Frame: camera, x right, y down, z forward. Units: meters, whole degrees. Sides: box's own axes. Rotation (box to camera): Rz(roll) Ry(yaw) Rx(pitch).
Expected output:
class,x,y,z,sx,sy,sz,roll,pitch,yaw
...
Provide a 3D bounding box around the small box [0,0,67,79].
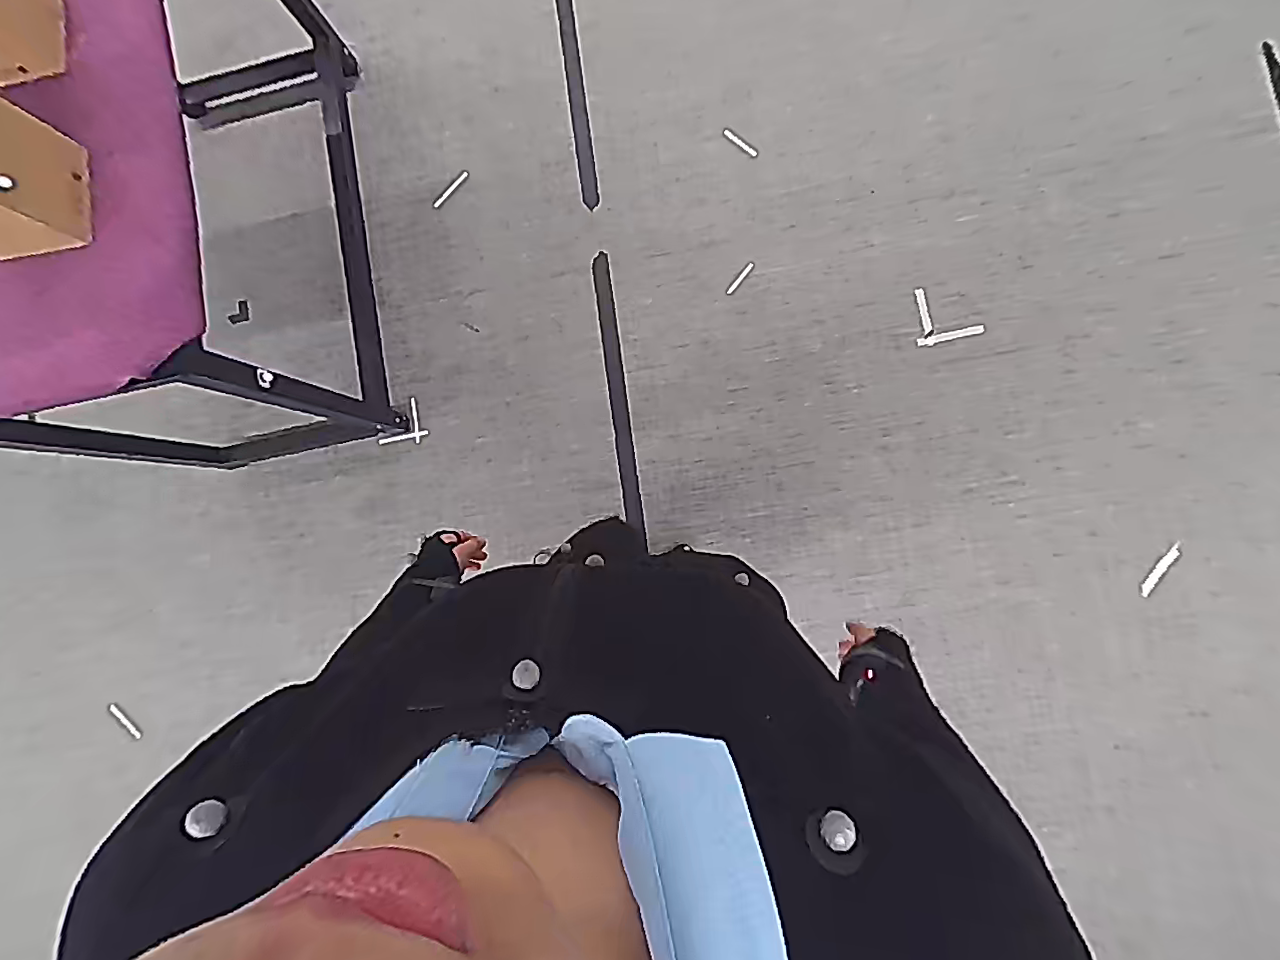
class,x,y,z,sx,sy,sz,roll,pitch,yaw
small box,-1.052,-0.765,0.838,0.168,0.176,0.179,-7,86,5
